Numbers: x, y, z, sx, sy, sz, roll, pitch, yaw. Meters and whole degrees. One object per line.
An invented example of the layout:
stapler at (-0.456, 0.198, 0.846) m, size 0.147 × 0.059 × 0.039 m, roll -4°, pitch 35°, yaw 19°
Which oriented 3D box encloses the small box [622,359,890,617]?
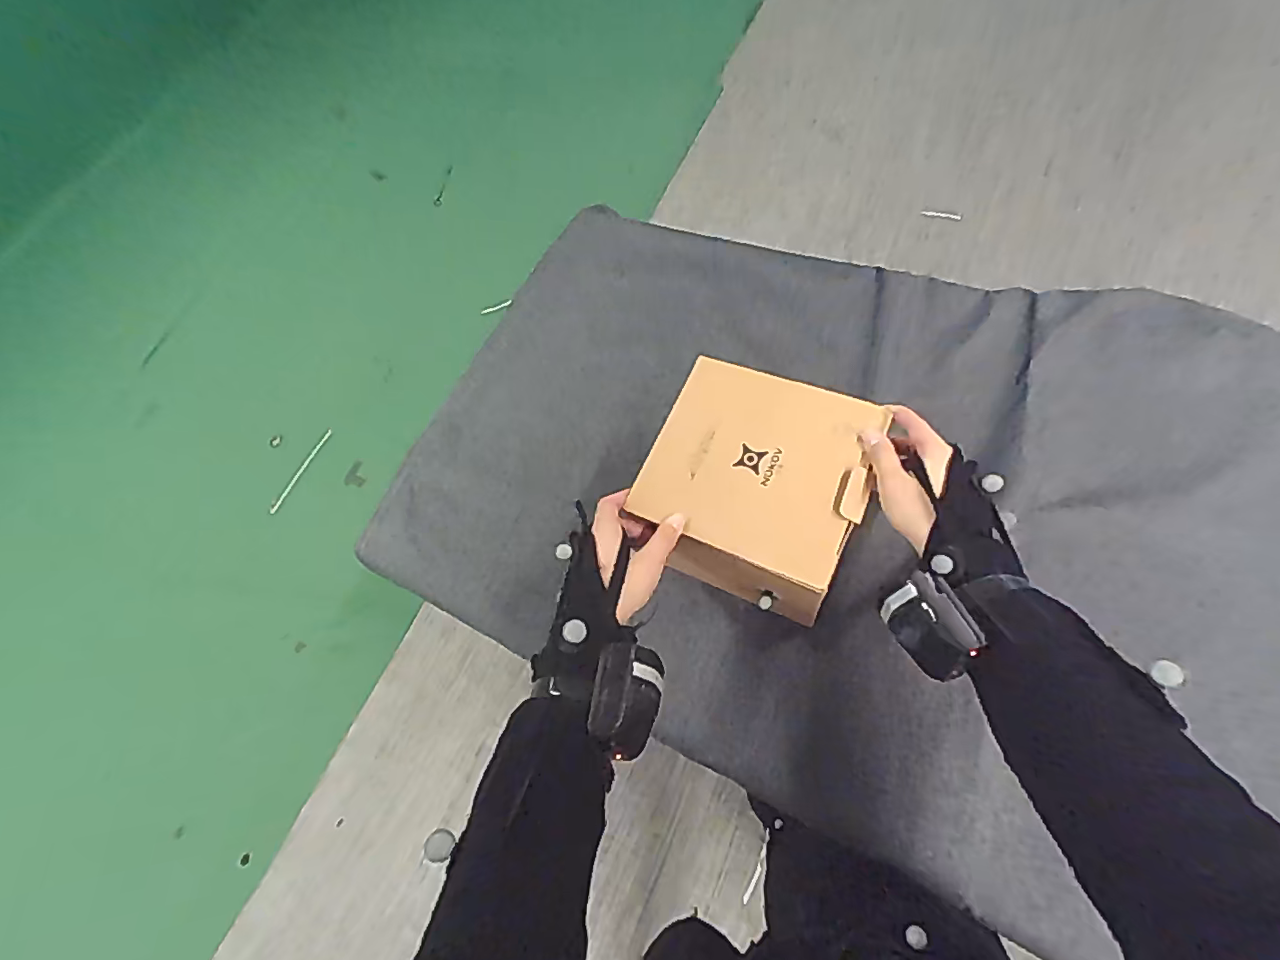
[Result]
small box at (0.111, 0.017, 0.519) m, size 0.179 × 0.176 × 0.168 m, roll 20°, pitch 70°, yaw 22°
